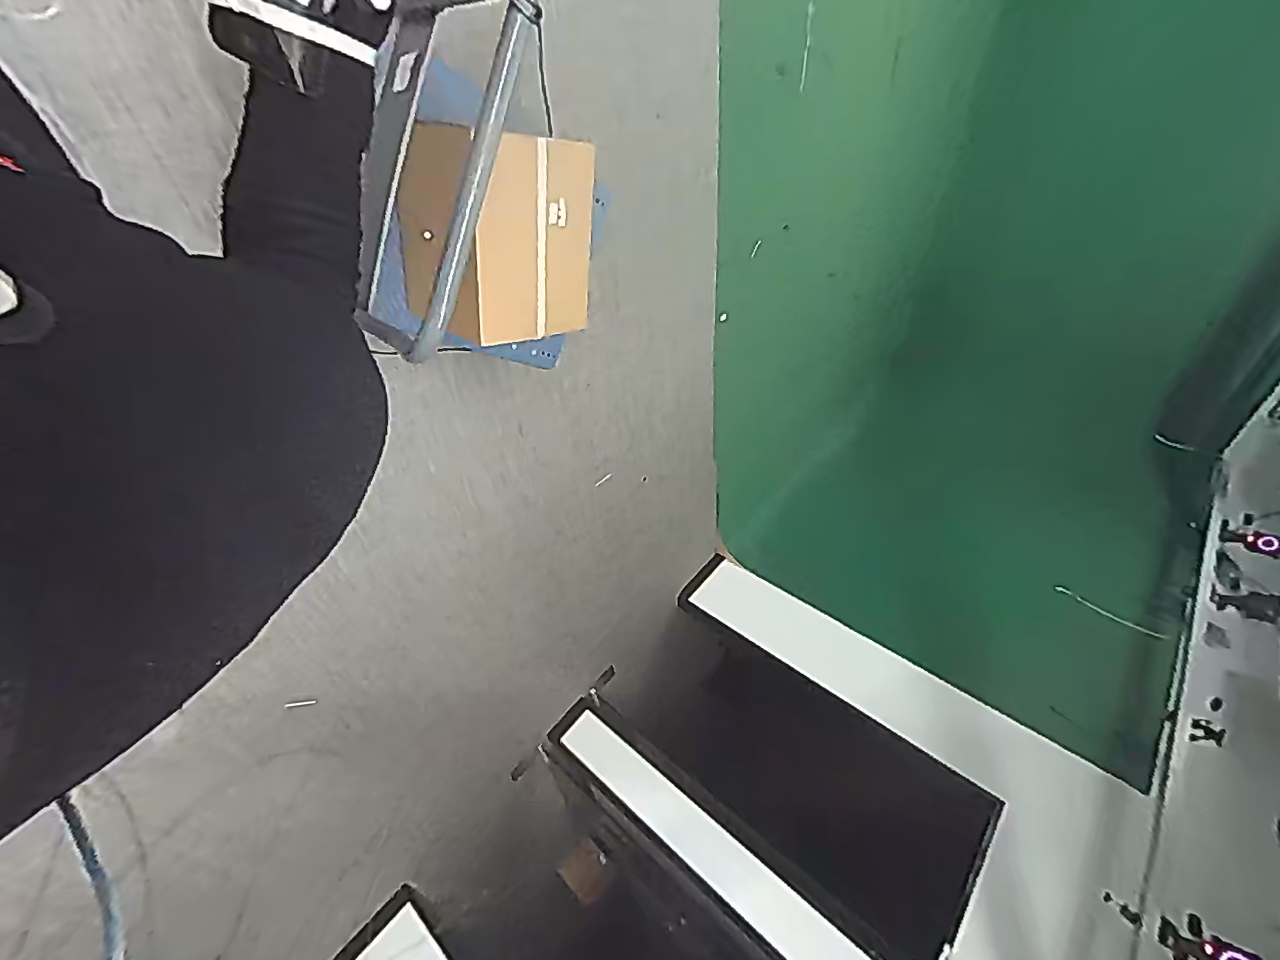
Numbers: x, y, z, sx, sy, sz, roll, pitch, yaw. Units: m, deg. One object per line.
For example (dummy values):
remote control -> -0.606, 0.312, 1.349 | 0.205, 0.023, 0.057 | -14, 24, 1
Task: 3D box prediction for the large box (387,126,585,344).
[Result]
large box -> -0.347, -0.570, 1.262 | 0.320, 0.320, 0.408 | -26, 132, -43
